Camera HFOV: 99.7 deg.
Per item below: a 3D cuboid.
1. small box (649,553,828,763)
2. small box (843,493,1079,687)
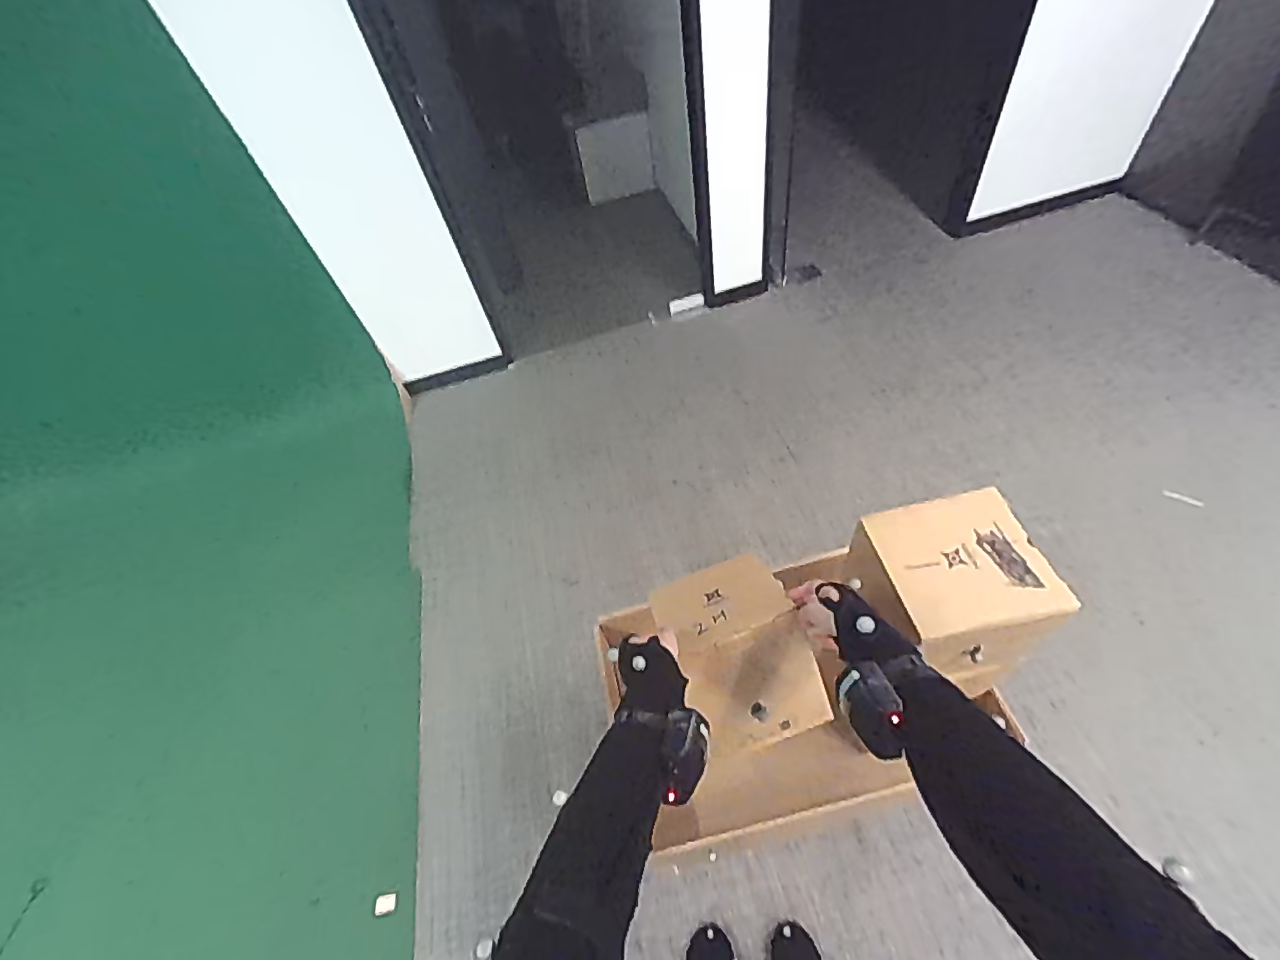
[{"bbox_3d":[0.124,0.229,0.718,0.168,0.176,0.179,-22,17,0],"label":"small box"},{"bbox_3d":[0.380,0.143,0.682,0.179,0.176,0.168,-12,51,1],"label":"small box"}]
